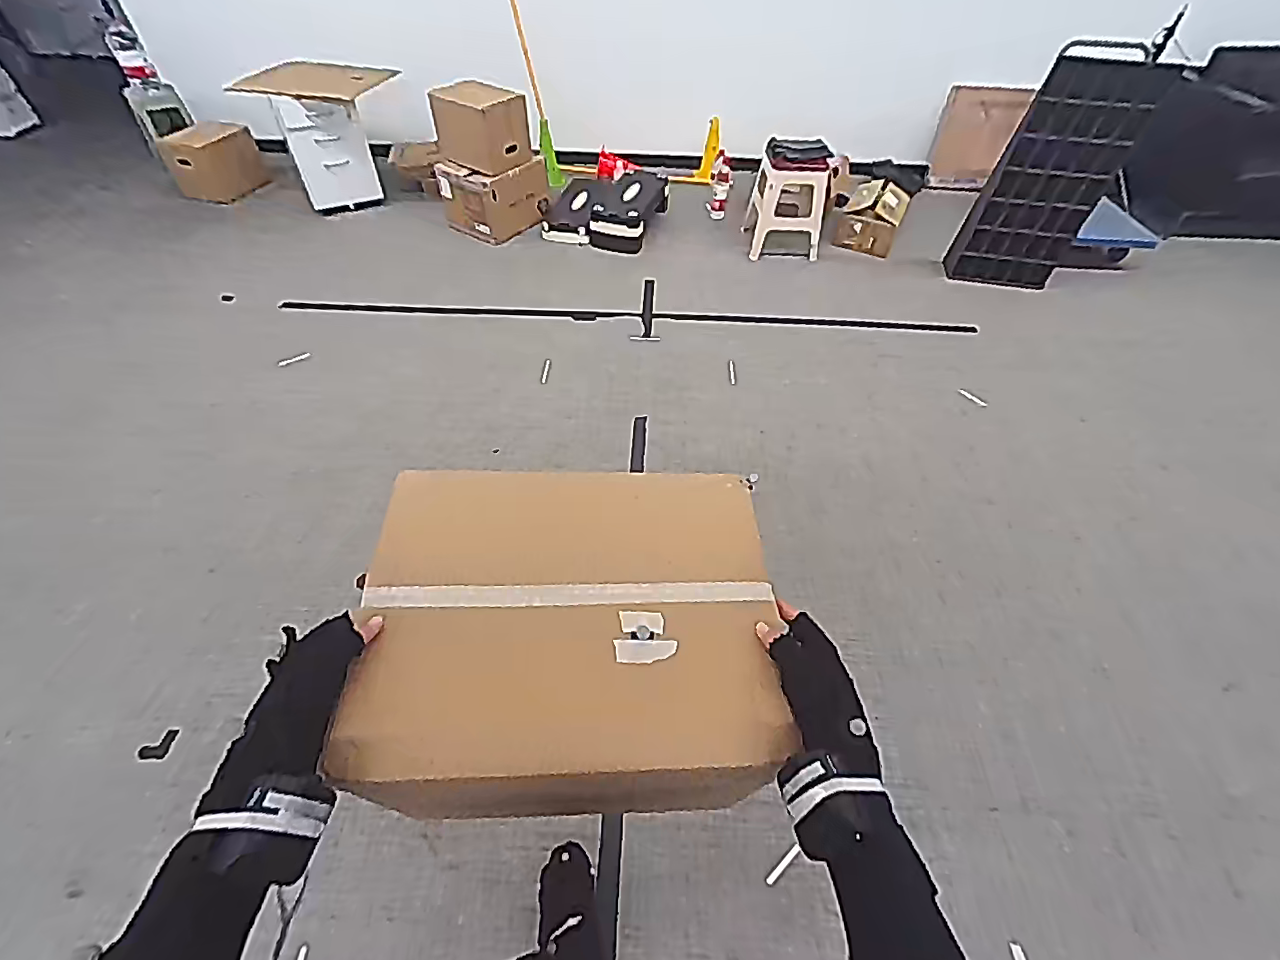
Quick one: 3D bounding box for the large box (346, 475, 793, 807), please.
[{"bbox_3d":[-0.077,0.207,0.681,0.408,0.320,0.320,1,54,-6],"label":"large box"}]
